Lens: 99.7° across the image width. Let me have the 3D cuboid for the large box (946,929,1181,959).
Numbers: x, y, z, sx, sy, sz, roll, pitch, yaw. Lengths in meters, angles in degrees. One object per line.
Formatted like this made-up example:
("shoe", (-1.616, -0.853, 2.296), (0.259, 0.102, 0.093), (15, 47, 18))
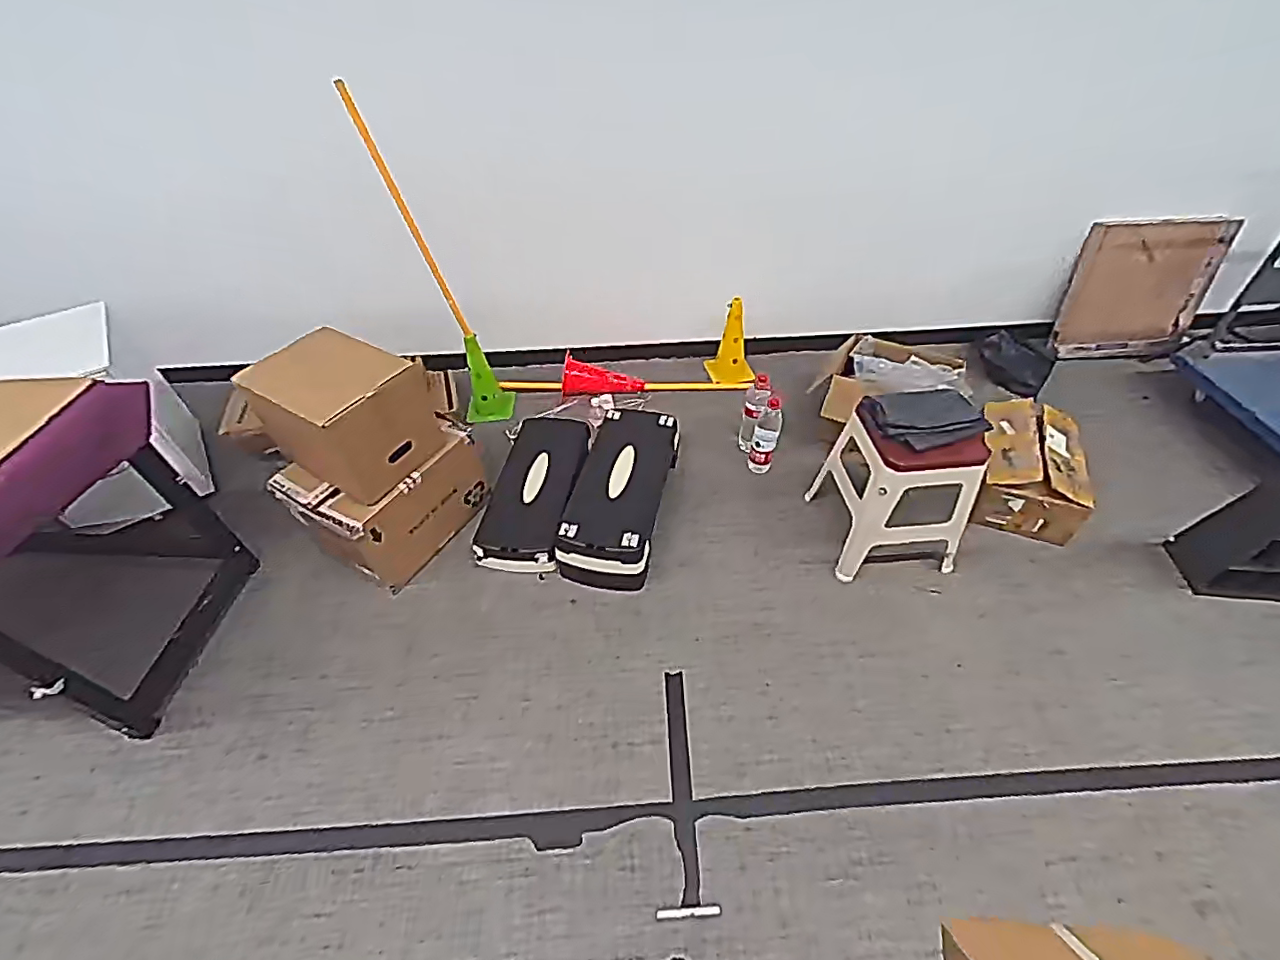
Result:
("large box", (0.571, 0.768, 0.552), (0.320, 0.408, 0.320), (0, 80, 5))
